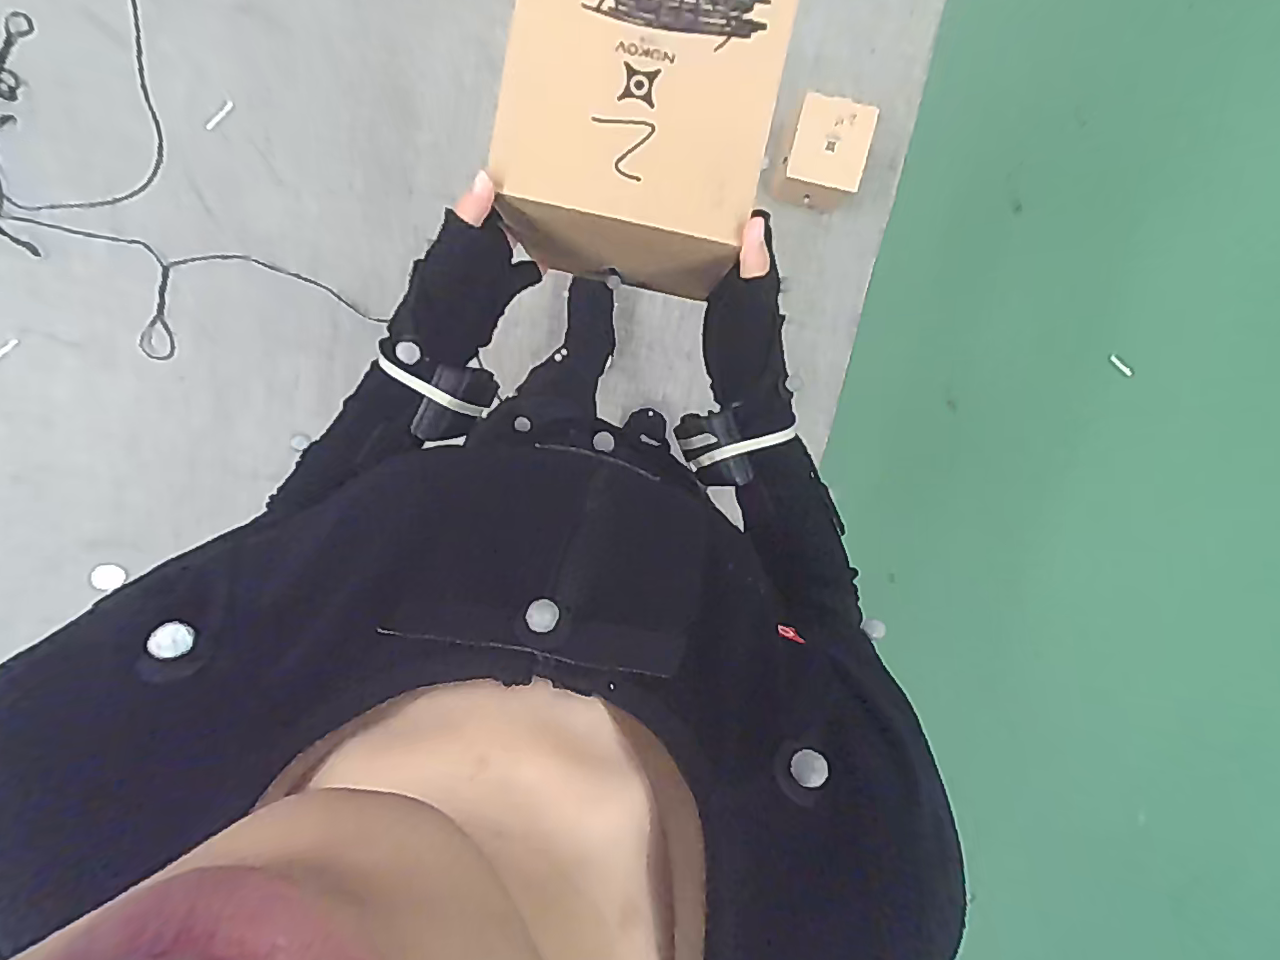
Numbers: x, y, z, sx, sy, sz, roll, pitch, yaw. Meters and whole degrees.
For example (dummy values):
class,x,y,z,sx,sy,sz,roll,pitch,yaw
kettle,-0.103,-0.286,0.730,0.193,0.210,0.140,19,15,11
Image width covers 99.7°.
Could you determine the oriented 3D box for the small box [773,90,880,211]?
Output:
class,x,y,z,sx,sy,sz,roll,pitch,yaw
small box,0.417,-0.745,1.243,0.168,0.176,0.179,12,101,-2
